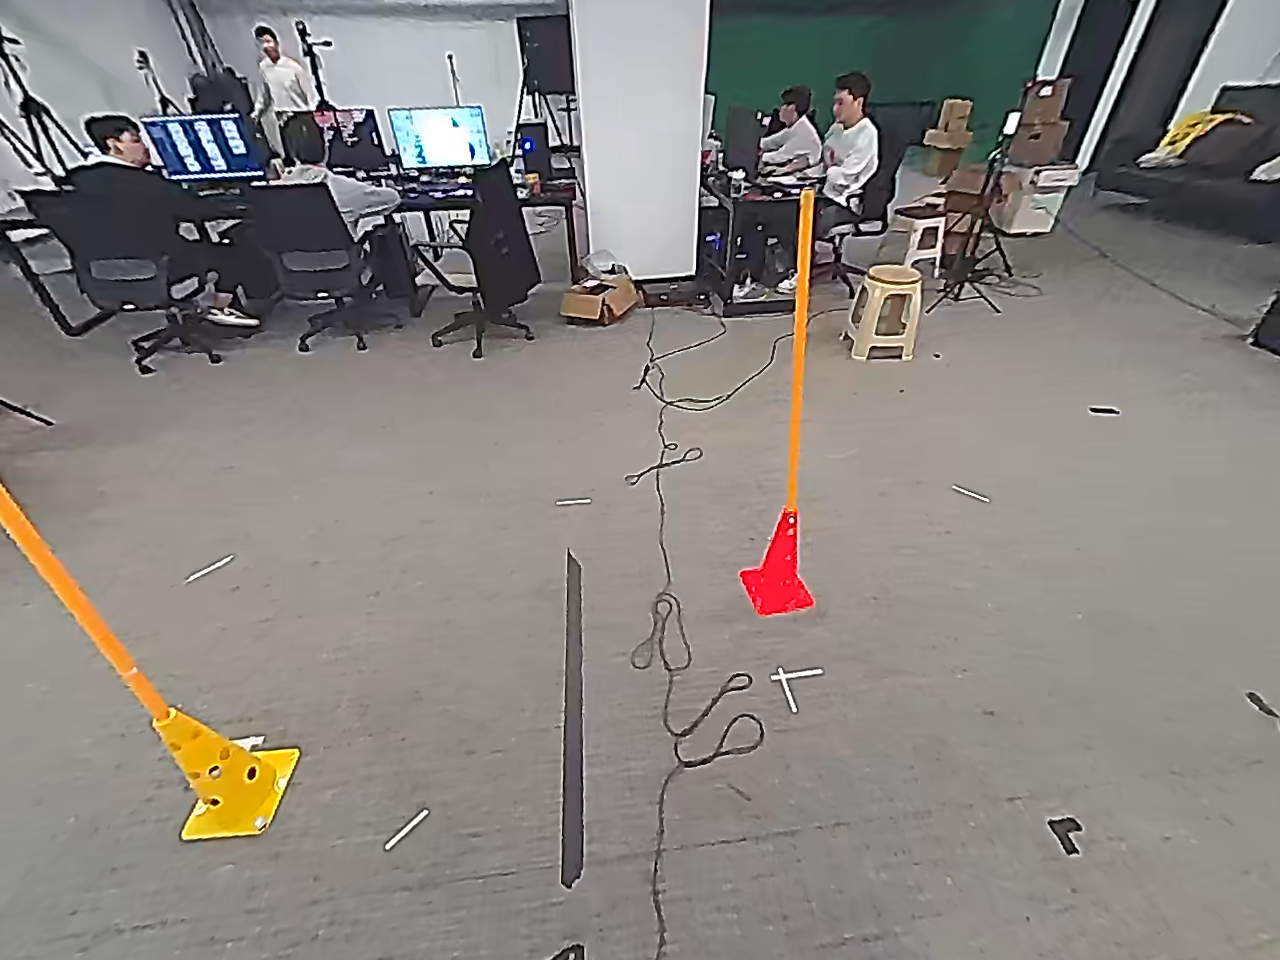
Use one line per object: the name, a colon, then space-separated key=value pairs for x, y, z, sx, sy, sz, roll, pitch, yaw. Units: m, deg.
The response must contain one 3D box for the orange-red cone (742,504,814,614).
orange-red cone: x=0.451 y=0.225 z=1.700 sx=0.199 sy=0.360 sz=0.198 roll=-9 pitch=37 yaw=-7
